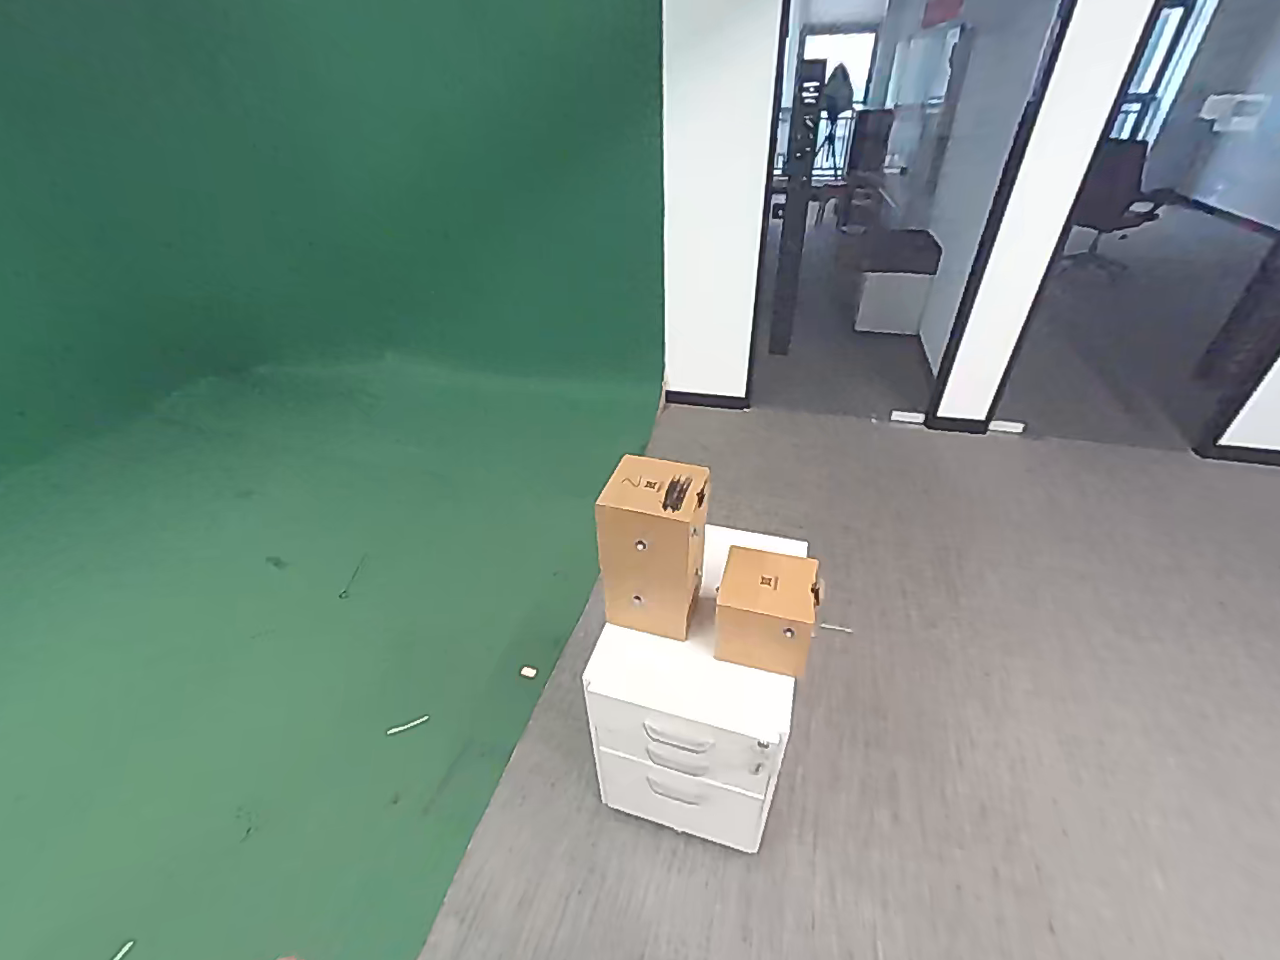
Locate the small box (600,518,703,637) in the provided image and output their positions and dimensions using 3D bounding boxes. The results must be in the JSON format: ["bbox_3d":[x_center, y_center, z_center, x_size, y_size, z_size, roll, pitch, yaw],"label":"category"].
[{"bbox_3d":[0.028,0.206,1.141,0.179,0.176,0.168,10,39,14],"label":"small box"}]
